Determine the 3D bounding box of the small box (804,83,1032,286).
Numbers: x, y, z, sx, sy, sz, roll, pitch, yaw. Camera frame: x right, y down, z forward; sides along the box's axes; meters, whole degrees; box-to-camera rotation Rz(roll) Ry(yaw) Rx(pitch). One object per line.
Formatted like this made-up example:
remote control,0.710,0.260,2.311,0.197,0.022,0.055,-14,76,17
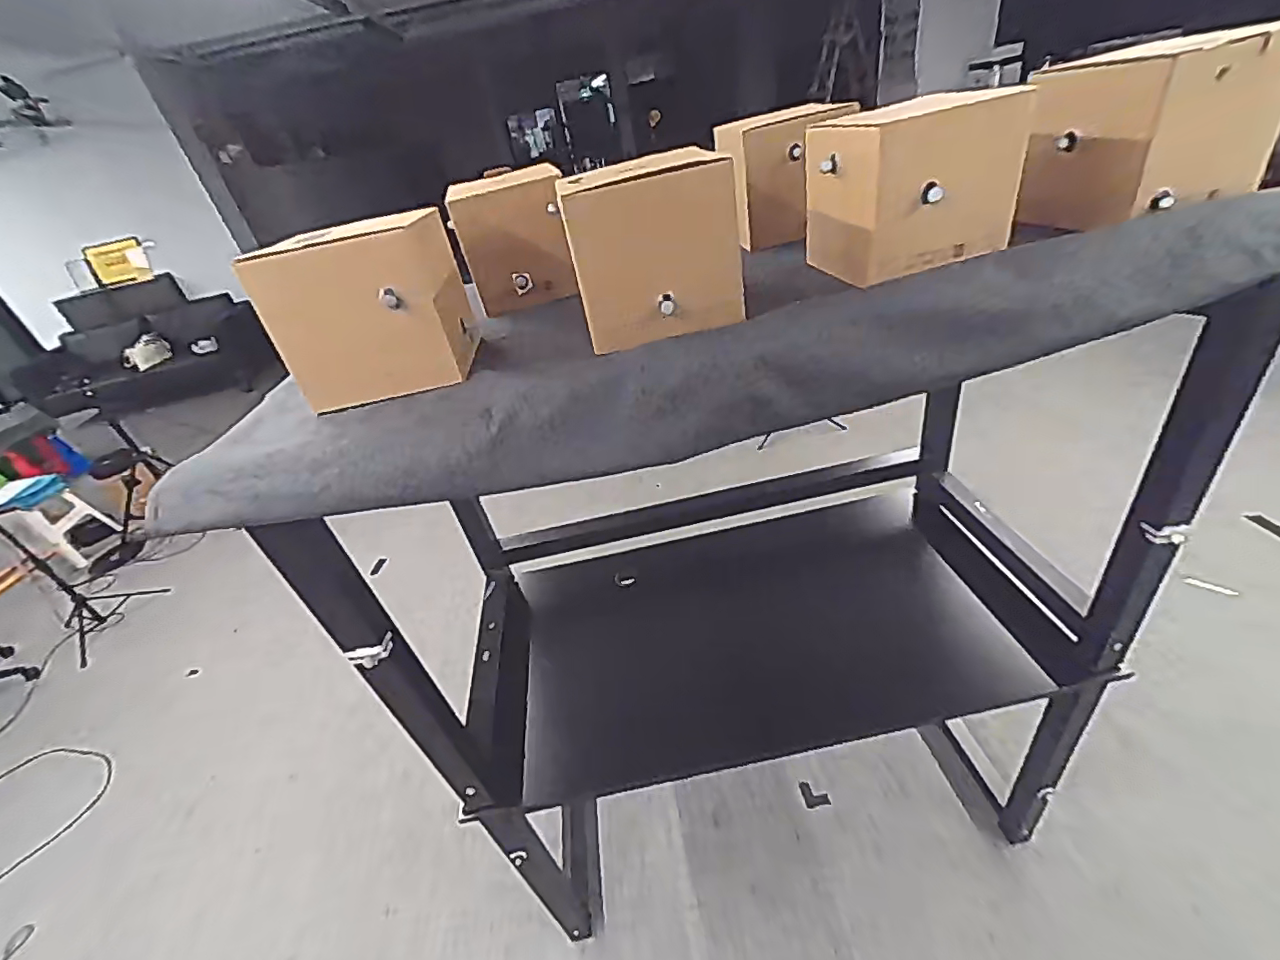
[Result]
small box,0.308,-0.341,0.637,0.168,0.176,0.179,-14,33,-2

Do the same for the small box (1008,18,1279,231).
small box,0.576,-0.402,0.629,0.168,0.176,0.179,-16,33,-4

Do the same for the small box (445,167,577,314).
small box,-0.190,-0.379,0.854,0.168,0.176,0.179,-18,35,-5

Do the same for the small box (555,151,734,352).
small box,0.006,-0.268,0.631,0.179,0.176,0.168,-13,34,-1

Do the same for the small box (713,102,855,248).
small box,0.229,-0.489,0.872,0.179,0.176,0.168,-13,35,0
